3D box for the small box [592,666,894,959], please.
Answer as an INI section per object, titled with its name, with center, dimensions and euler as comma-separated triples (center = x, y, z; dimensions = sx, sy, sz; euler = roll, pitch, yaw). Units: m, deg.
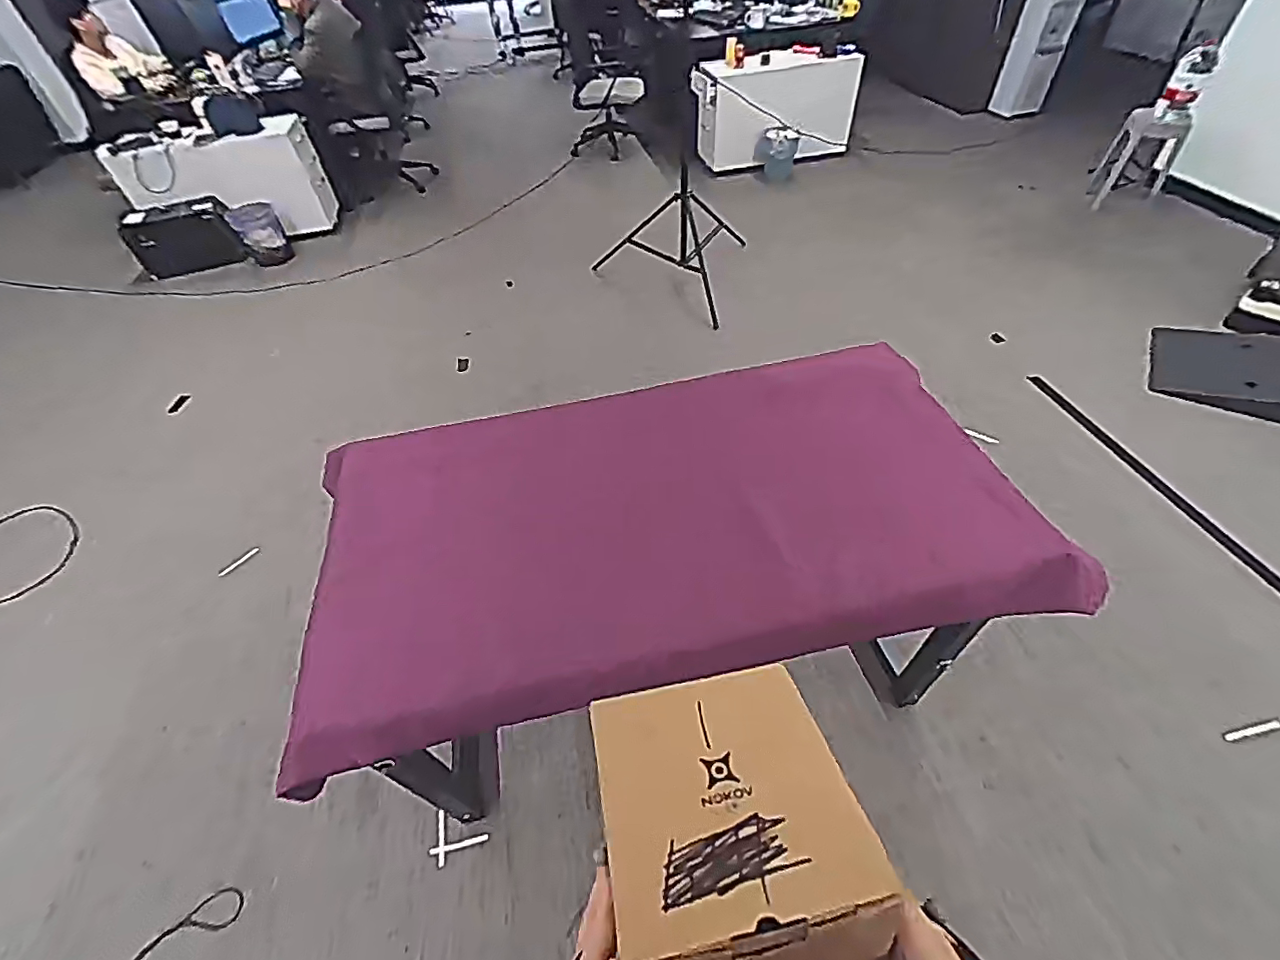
[small box]
center = 0.061, 0.279, 0.411
dimensions = 0.168, 0.176, 0.179
euler = -9, 29, -6
